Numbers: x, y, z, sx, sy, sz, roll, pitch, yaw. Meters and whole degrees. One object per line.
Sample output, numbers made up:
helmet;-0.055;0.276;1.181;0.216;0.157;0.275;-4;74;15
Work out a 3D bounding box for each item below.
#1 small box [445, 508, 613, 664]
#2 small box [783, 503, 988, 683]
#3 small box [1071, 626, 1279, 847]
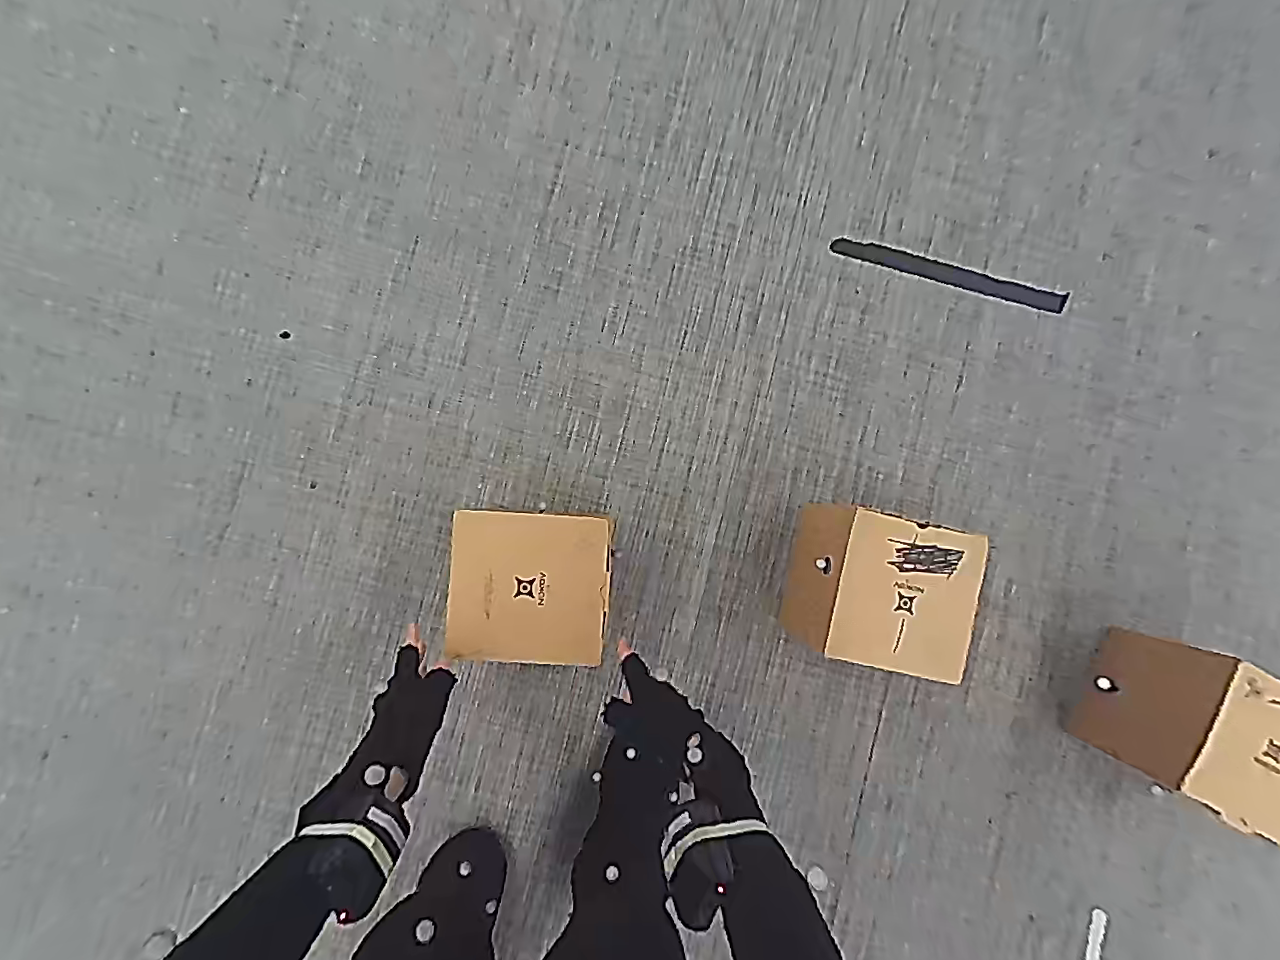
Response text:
small box;-0.125;0.121;0.674;0.179;0.176;0.168;3;86;-2
small box;0.298;0.131;0.693;0.168;0.176;0.179;13;88;-3
small box;0.727;0.321;0.710;0.168;0.176;0.179;29;87;-2
